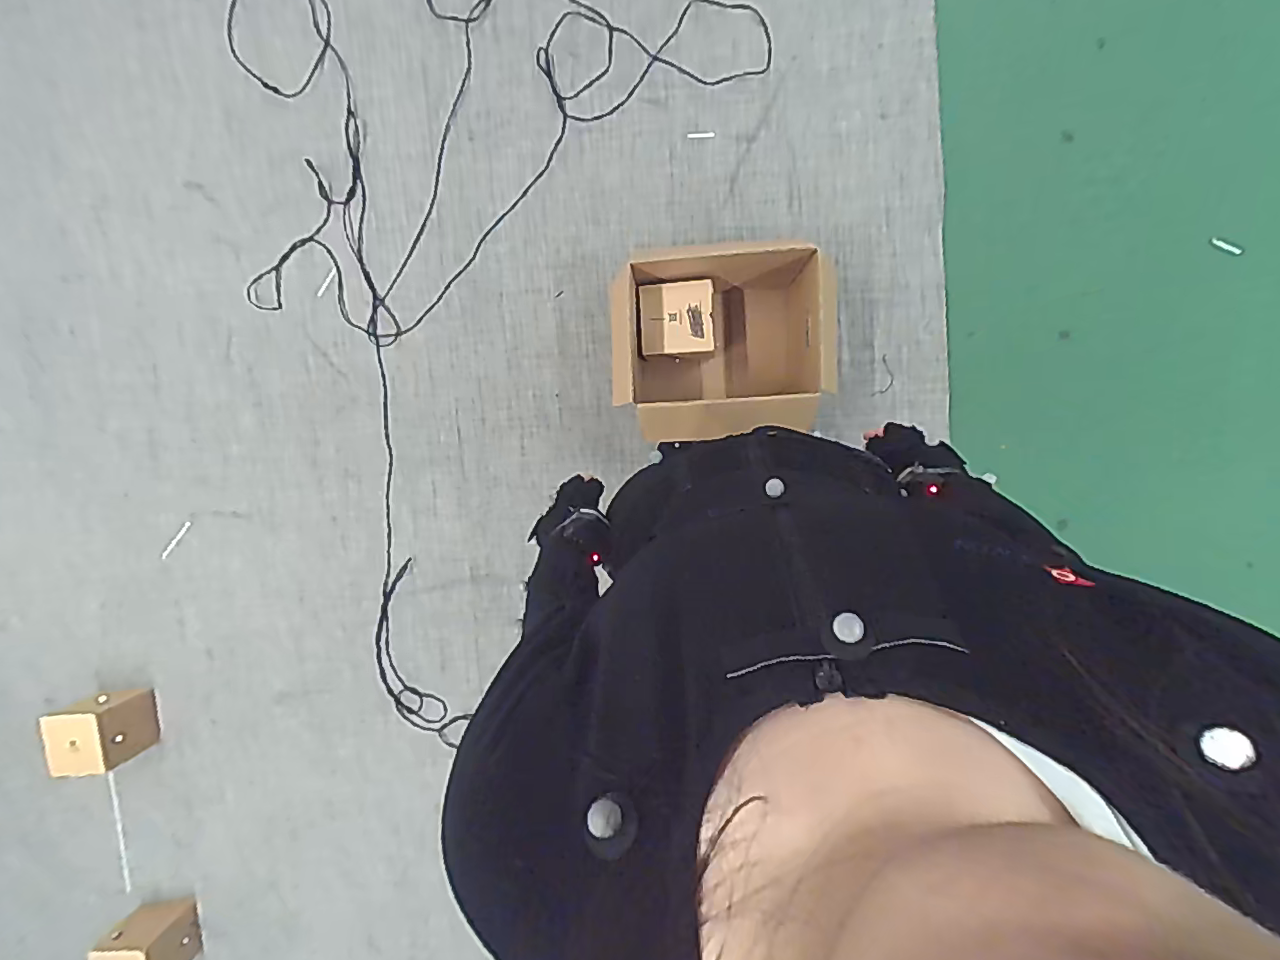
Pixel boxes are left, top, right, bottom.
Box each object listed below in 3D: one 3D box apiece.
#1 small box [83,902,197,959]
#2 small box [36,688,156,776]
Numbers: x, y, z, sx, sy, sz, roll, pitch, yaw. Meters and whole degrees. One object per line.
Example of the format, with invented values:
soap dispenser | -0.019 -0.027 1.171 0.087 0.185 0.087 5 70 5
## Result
small box | -1.467 1.389 1.594 0.179 0.176 0.168 -5 95 3
small box | -1.543 0.710 1.543 0.168 0.176 0.179 -5 95 3
